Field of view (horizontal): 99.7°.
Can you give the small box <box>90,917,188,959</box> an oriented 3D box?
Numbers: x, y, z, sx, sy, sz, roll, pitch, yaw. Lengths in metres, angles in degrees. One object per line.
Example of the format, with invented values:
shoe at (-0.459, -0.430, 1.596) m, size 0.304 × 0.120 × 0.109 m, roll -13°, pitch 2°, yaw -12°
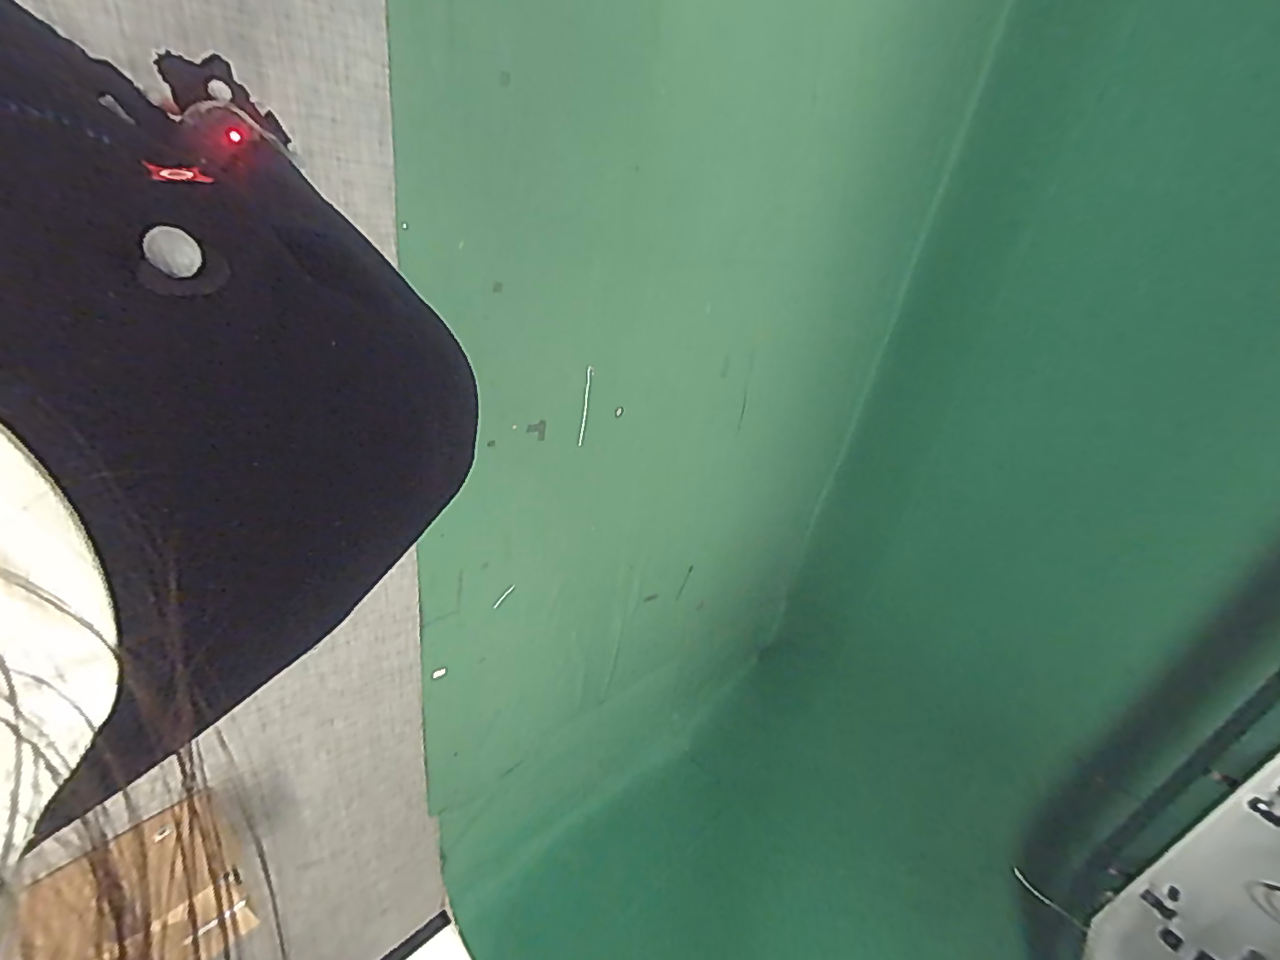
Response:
small box at (-1.240, 1.242, 1.333) m, size 0.179 × 0.176 × 0.168 m, roll -21°, pitch 130°, yaw -38°
